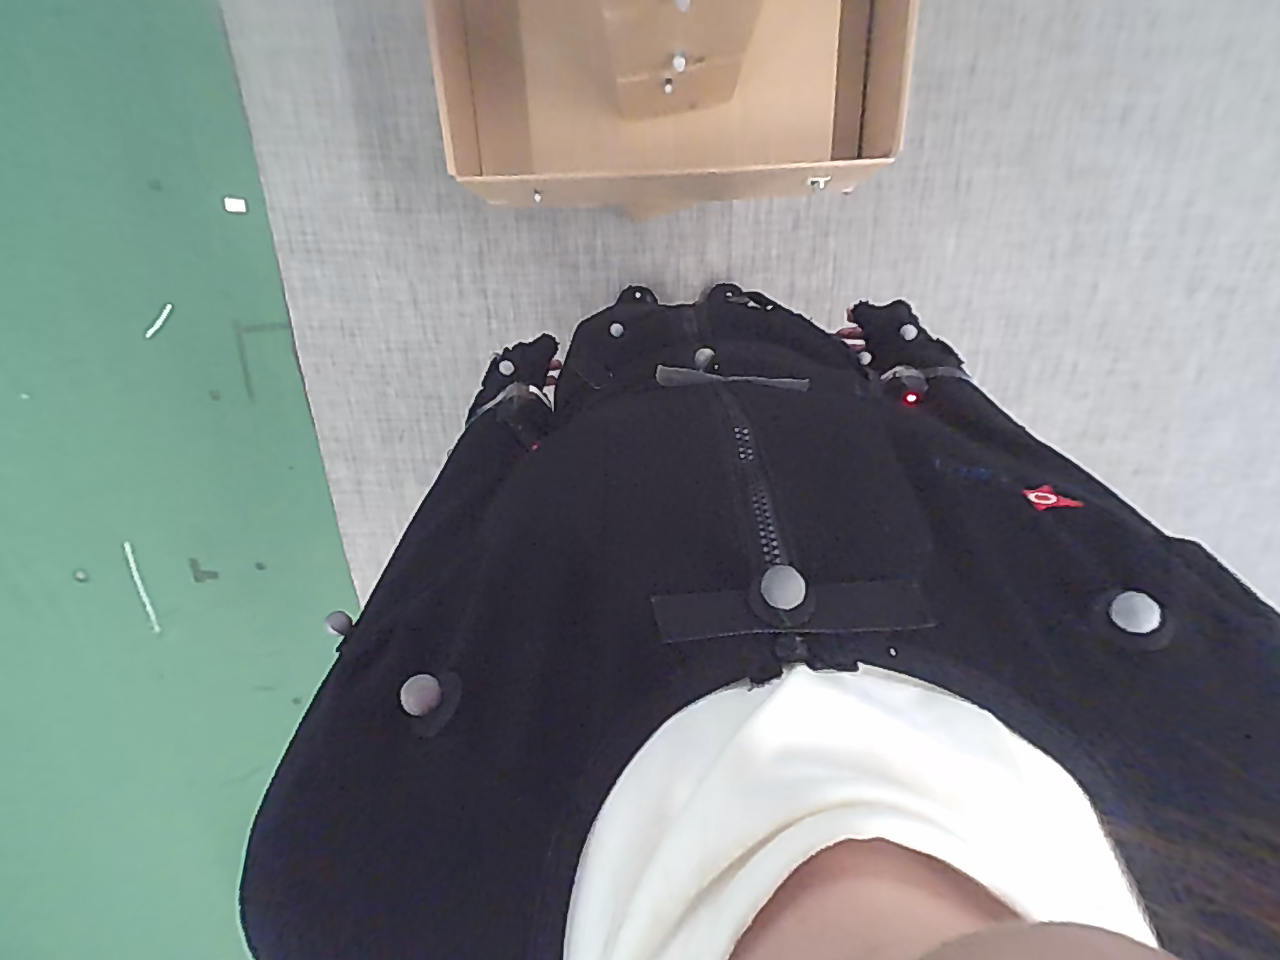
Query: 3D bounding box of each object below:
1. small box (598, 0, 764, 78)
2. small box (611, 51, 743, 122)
[{"bbox_3d":[0.034,-0.567,0.571,0.168,0.176,0.179,-6,109,5],"label":"small box"},{"bbox_3d":[0.041,-0.618,0.727,0.168,0.176,0.179,-7,108,6],"label":"small box"}]
